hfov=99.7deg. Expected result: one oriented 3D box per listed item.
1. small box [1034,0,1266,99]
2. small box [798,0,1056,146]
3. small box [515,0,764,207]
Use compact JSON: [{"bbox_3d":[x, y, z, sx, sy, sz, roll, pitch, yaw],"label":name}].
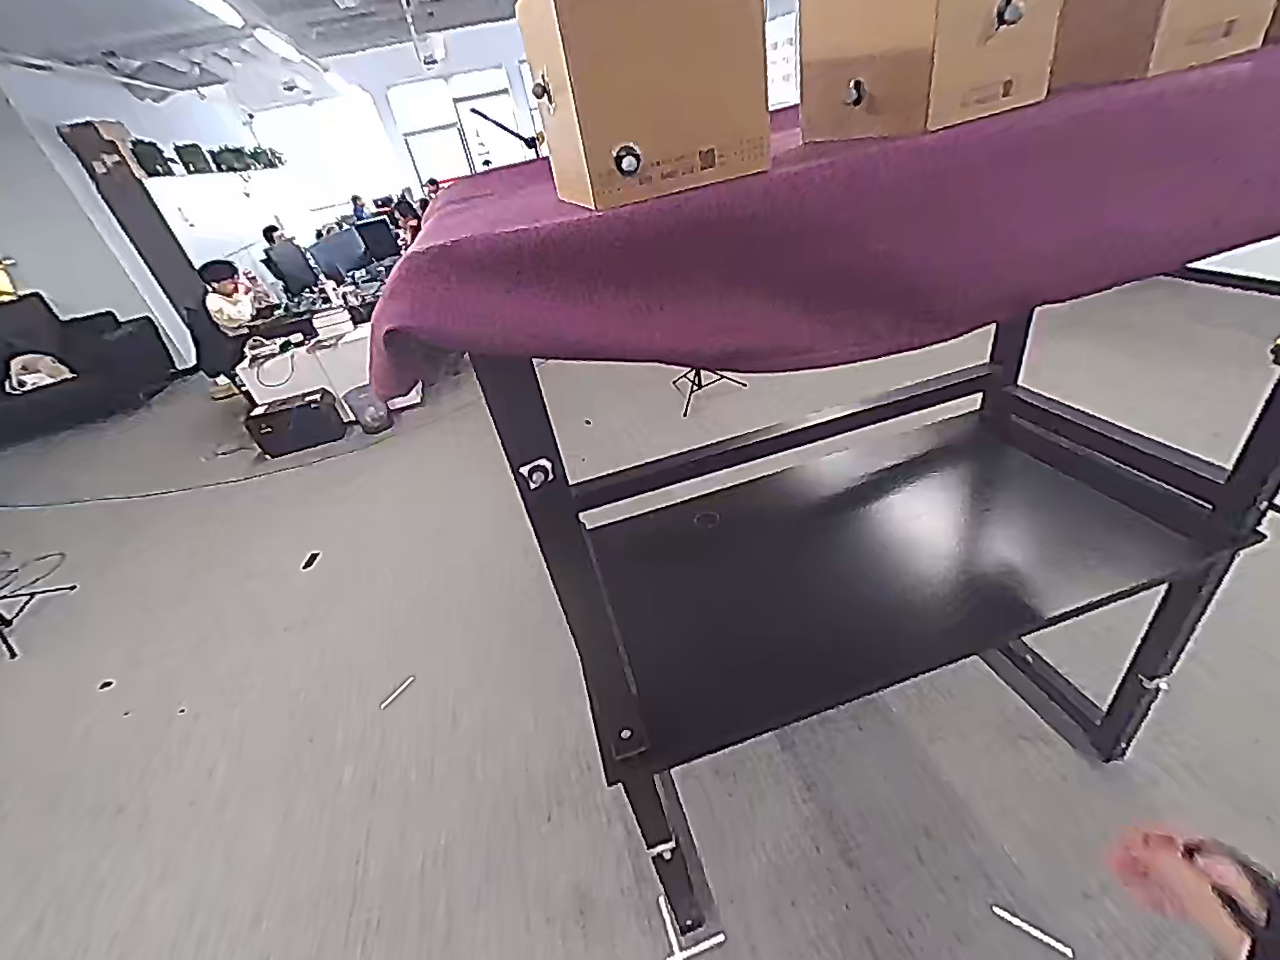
[{"bbox_3d":[0.534,-0.532,0.584,0.168,0.176,0.179,-19,33,-11],"label":"small box"},{"bbox_3d":[0.280,-0.449,0.539,0.168,0.176,0.179,-23,35,-16],"label":"small box"},{"bbox_3d":[0.000,-0.355,0.488,0.168,0.176,0.179,-18,32,-10],"label":"small box"}]
